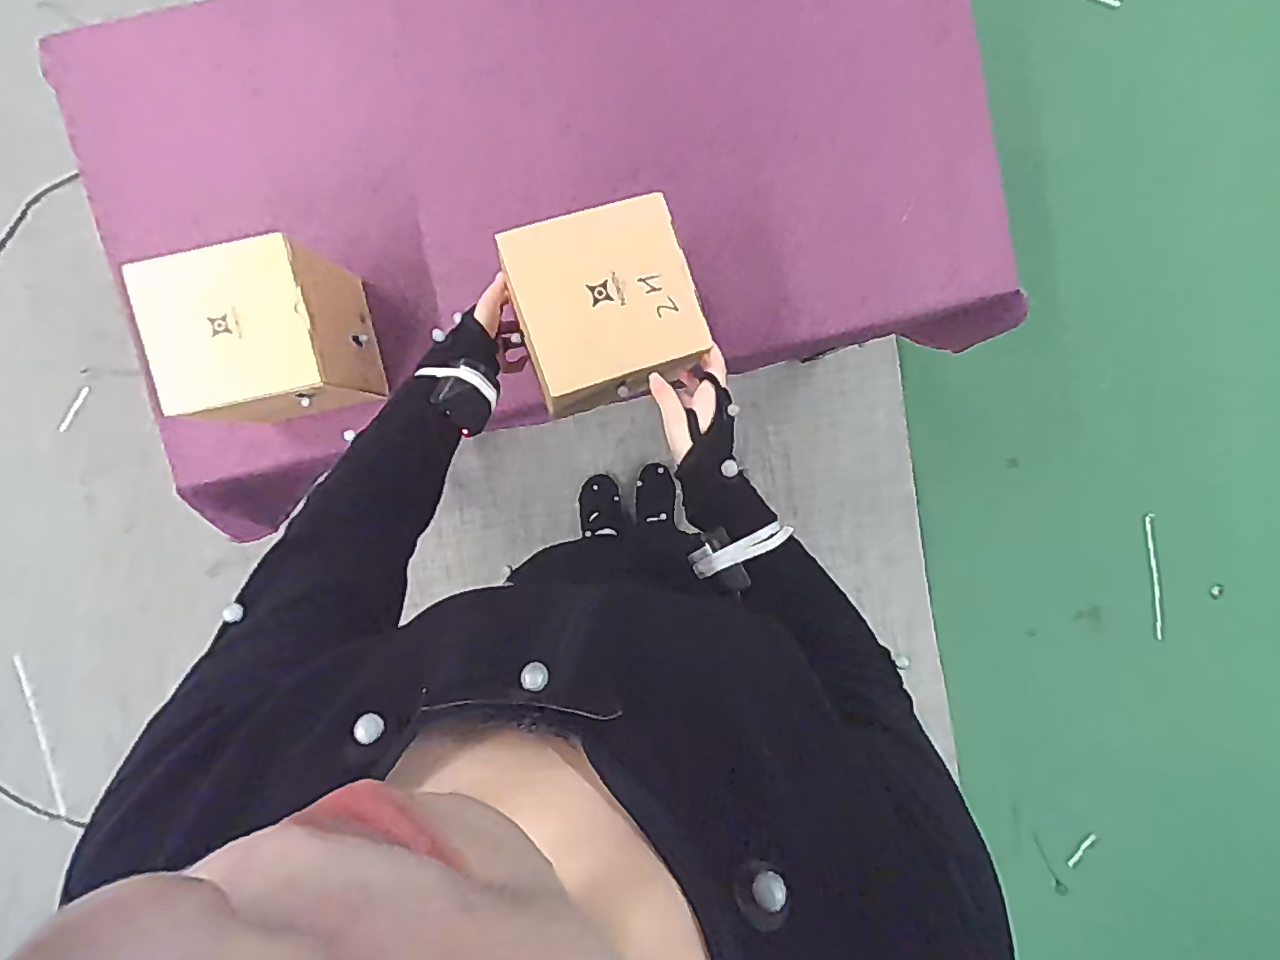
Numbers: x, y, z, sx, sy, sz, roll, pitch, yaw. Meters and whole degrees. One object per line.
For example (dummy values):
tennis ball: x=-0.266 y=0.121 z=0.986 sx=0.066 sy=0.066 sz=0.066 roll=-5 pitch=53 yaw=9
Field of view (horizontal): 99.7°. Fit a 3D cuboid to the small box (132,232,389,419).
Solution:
small box: x=-0.442 y=-0.173 z=0.659 sx=0.179 sy=0.176 sz=0.168 roll=-13 pitch=94 yaw=-2
